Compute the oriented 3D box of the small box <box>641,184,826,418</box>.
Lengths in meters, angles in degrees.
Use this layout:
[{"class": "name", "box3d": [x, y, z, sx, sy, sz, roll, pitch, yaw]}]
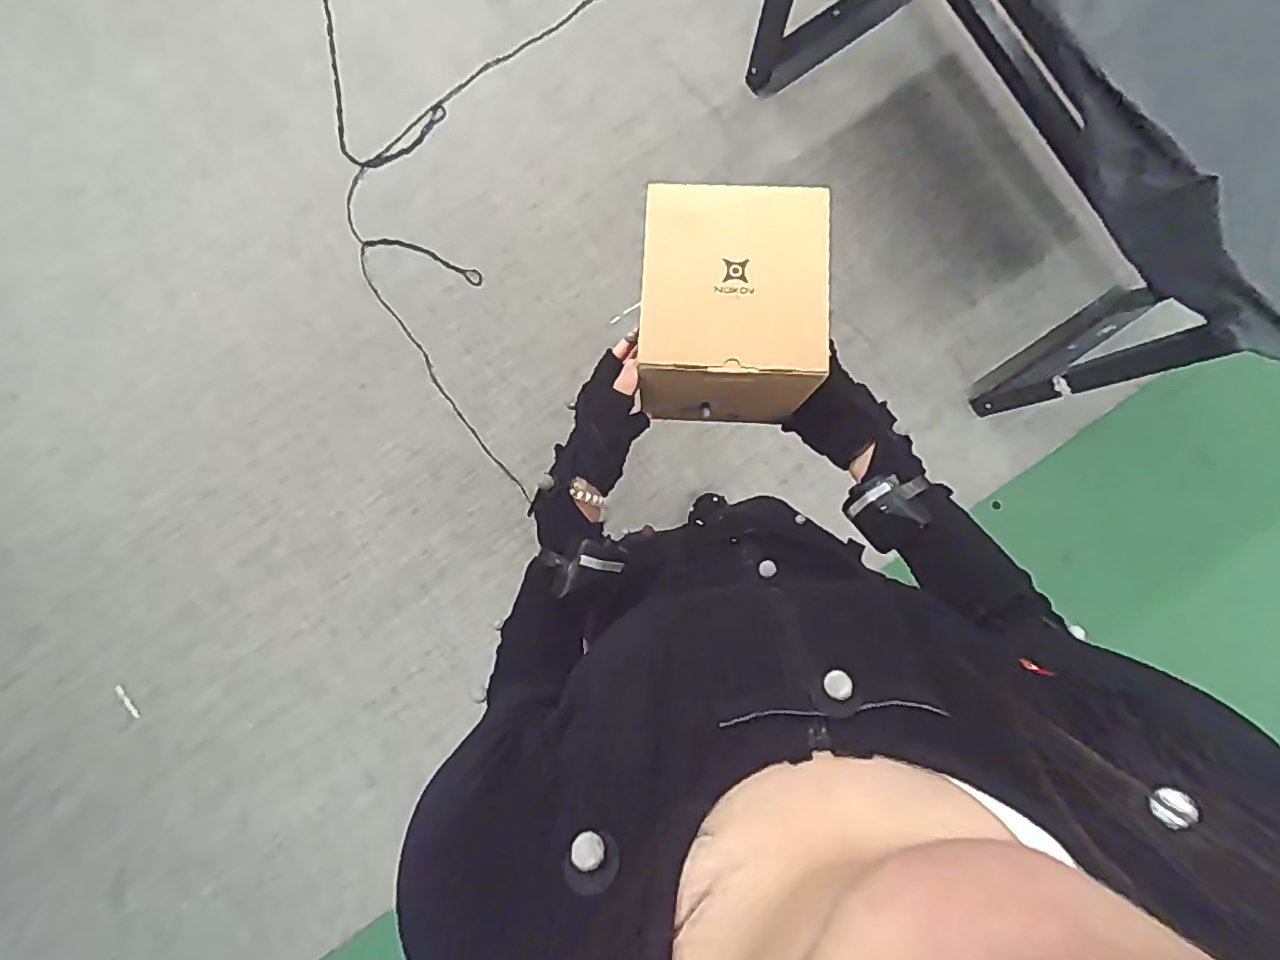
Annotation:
[{"class": "small box", "box3d": [0.087, -0.174, 0.567, 0.168, 0.176, 0.179, 2, 82, 2]}]
